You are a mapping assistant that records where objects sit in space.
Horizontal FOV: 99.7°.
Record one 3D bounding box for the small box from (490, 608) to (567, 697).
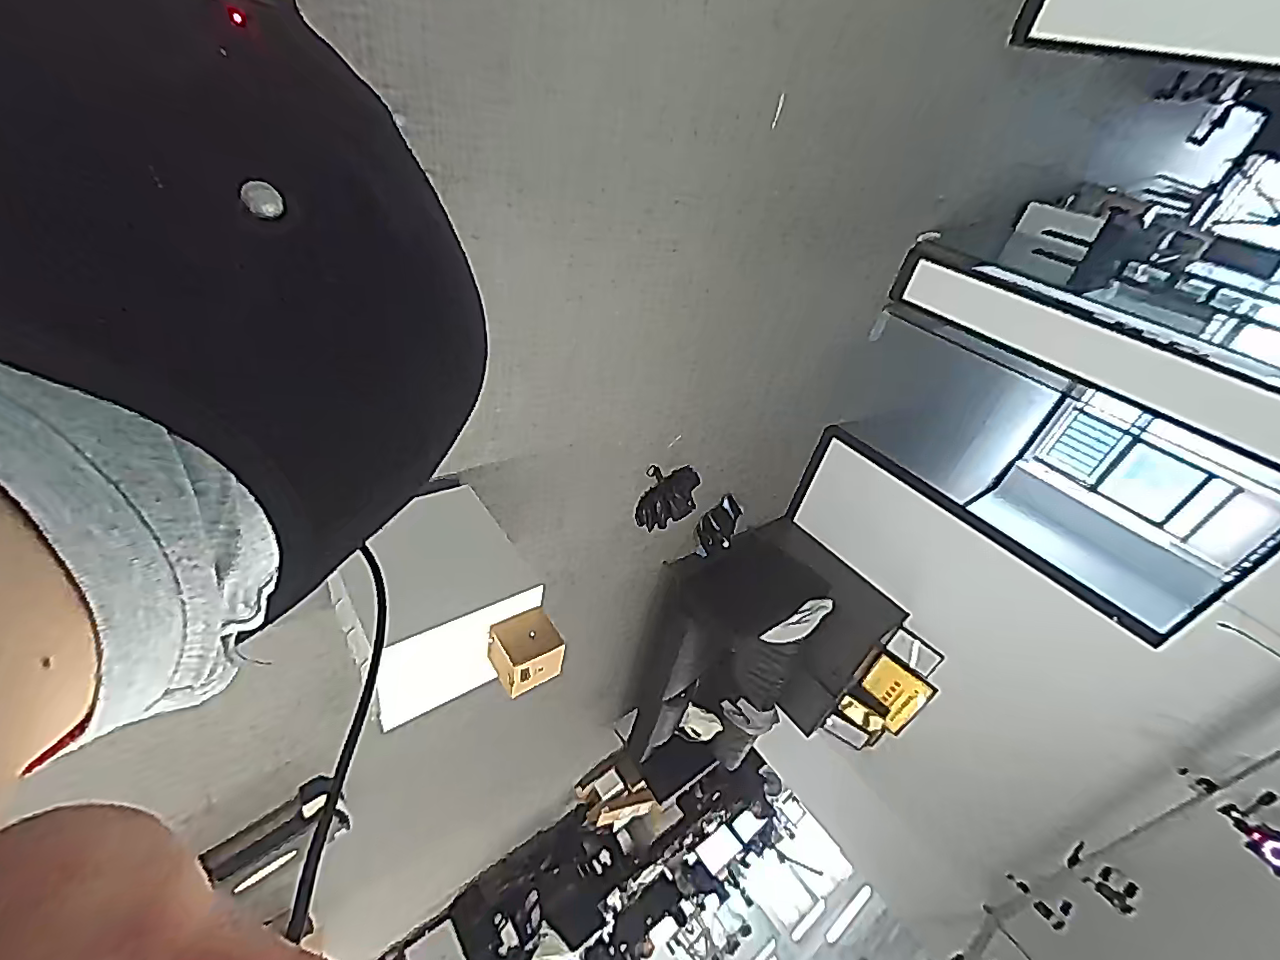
[{"bbox_3d":[-0.356,0.536,1.699,0.179,0.176,0.168,-17,137,-36],"label":"small box"}]
